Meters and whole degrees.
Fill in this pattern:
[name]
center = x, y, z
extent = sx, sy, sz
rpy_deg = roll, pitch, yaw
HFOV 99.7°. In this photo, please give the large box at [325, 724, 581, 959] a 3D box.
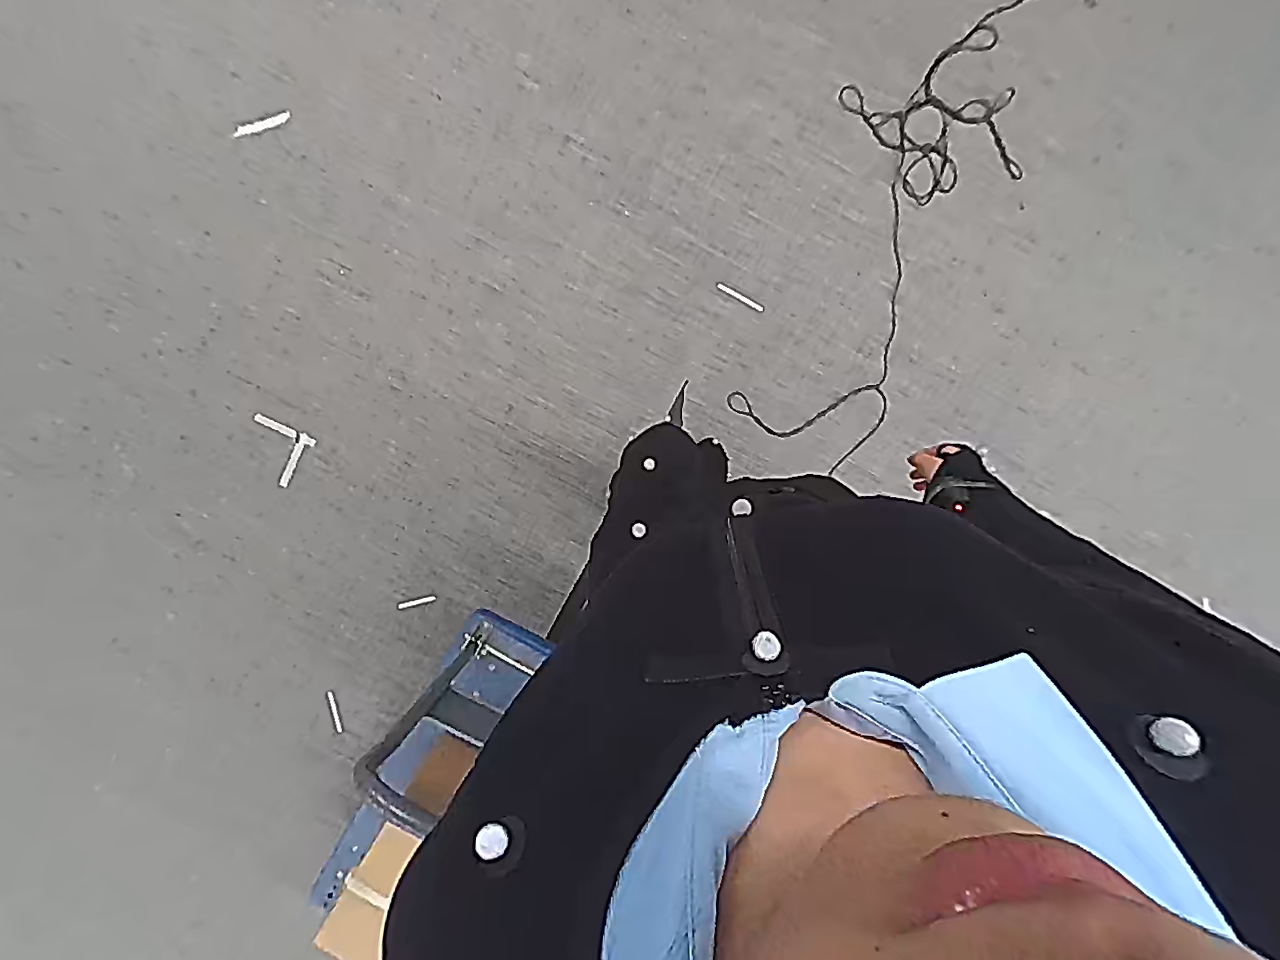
[large box]
center = -0.389, 0.841, 1.226
extent = 0.408, 0.320, 0.320
rpy_deg = 32, 93, -4
